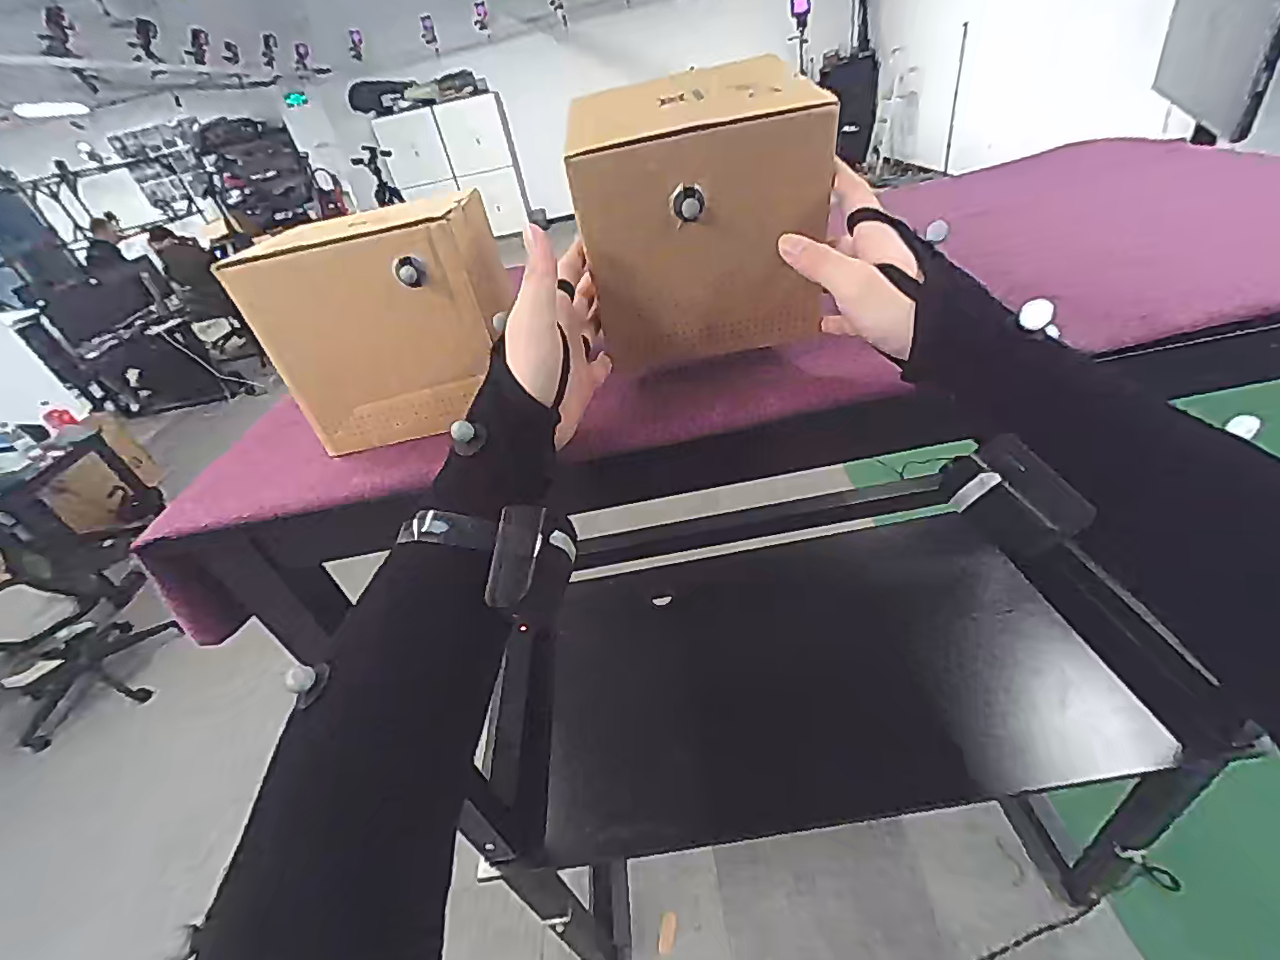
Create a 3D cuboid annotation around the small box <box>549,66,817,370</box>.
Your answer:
[{"bbox_3d":[0.037,-0.211,0.451,0.179,0.176,0.168,-9,46,5],"label":"small box"}]

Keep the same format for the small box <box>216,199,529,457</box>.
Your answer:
[{"bbox_3d":[-0.217,-0.140,0.499,0.179,0.176,0.168,-12,35,1],"label":"small box"}]
